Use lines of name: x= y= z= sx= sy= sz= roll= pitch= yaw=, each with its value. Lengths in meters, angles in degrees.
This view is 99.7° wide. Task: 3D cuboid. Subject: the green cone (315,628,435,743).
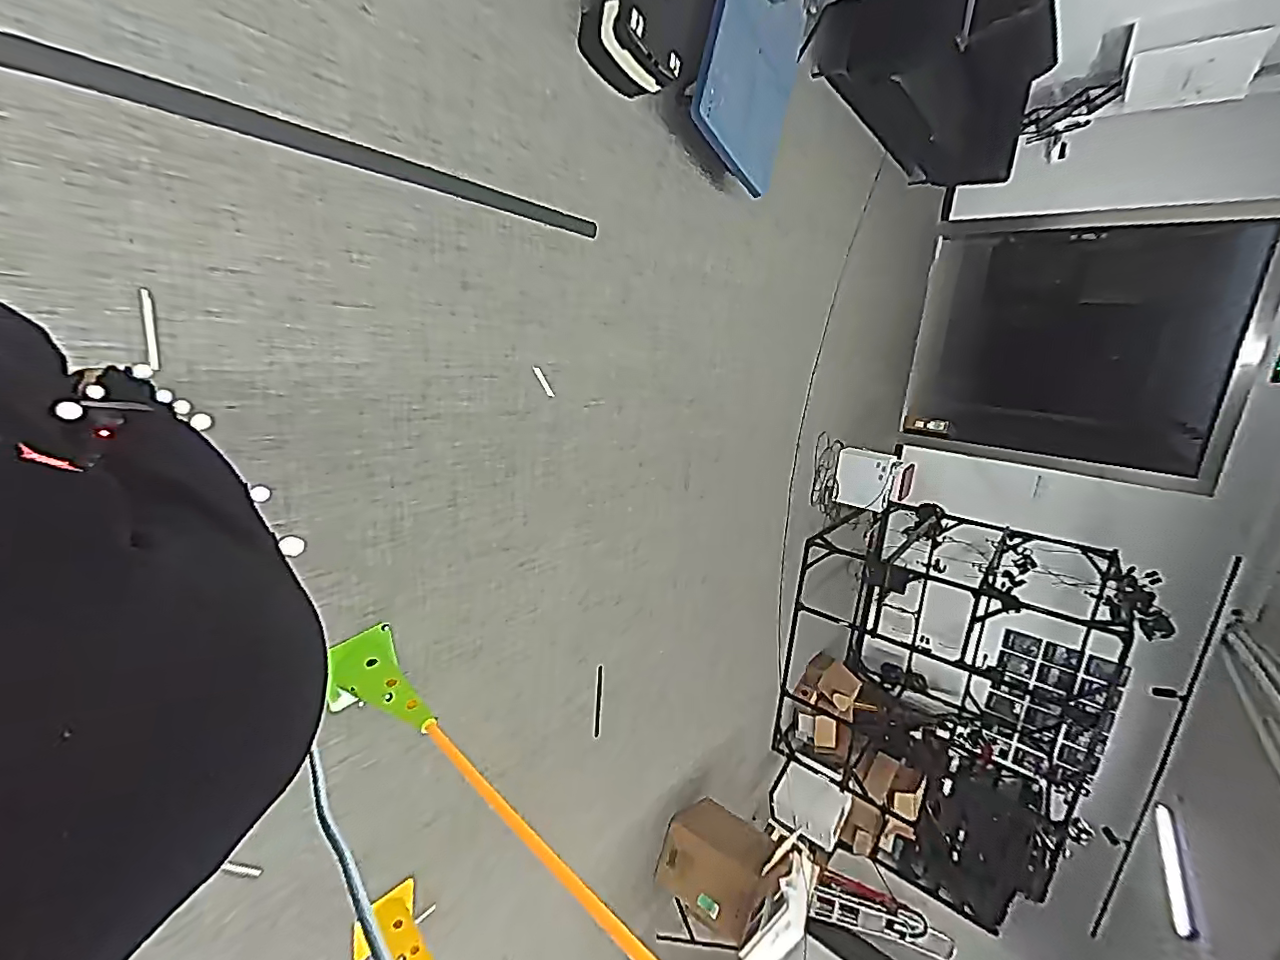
green cone: x=-0.659 y=0.576 z=1.415 sx=0.200 sy=0.368 sz=0.202 roll=-26 pitch=124 yaw=-46
